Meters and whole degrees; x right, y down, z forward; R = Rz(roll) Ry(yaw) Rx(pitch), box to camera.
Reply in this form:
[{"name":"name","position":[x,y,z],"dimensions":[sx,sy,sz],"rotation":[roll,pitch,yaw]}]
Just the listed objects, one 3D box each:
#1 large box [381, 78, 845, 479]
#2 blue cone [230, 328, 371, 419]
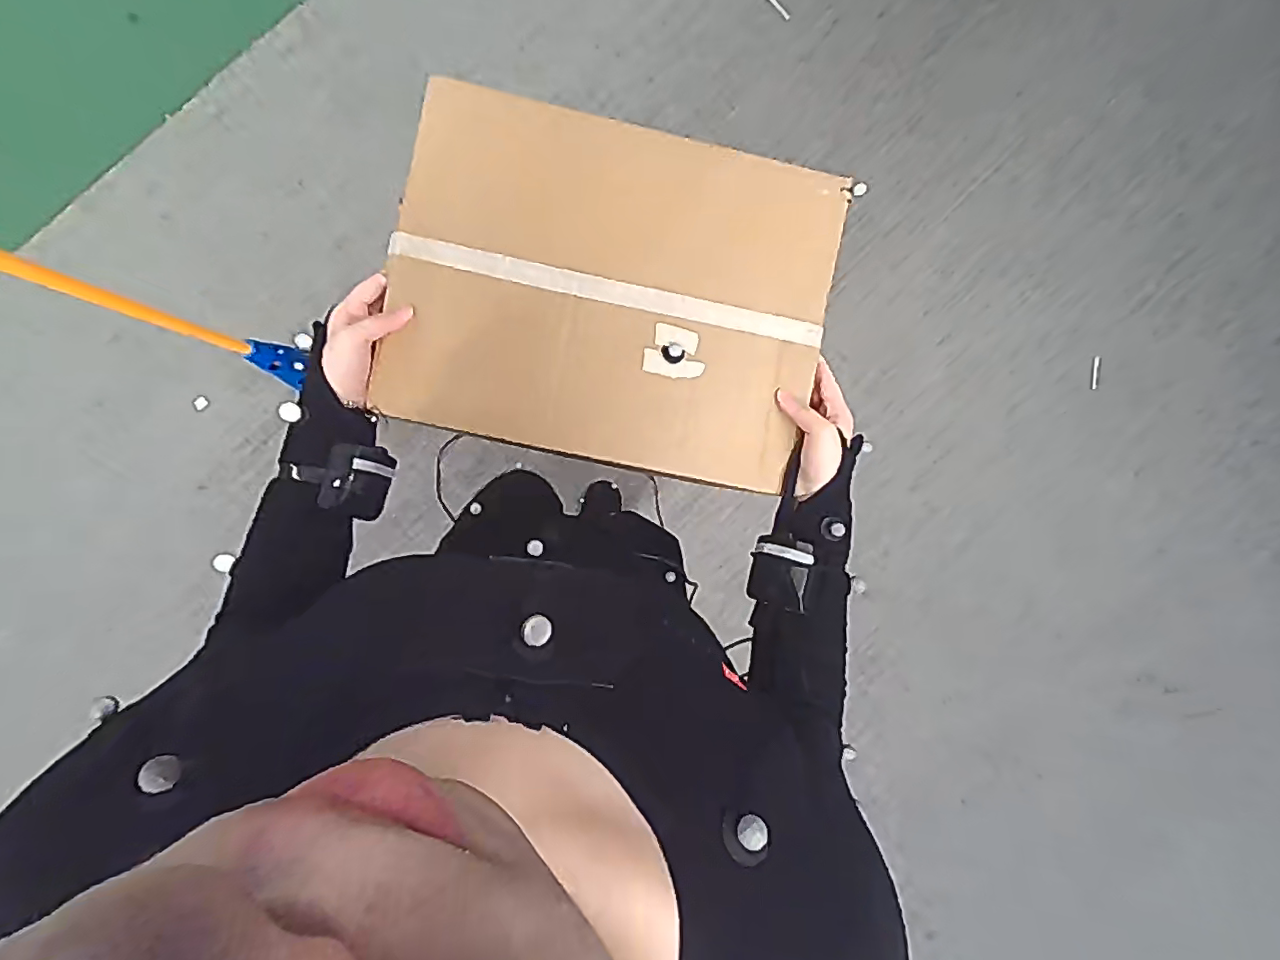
[{"name":"large box","position":[-0.034,-0.188,0.661],"dimensions":[0.408,0.320,0.320],"rotation":[12,91,-5]},{"name":"blue cone","position":[-0.842,-0.285,1.311],"dimensions":[0.193,0.380,0.192],"rotation":[-34,90,-3]}]
